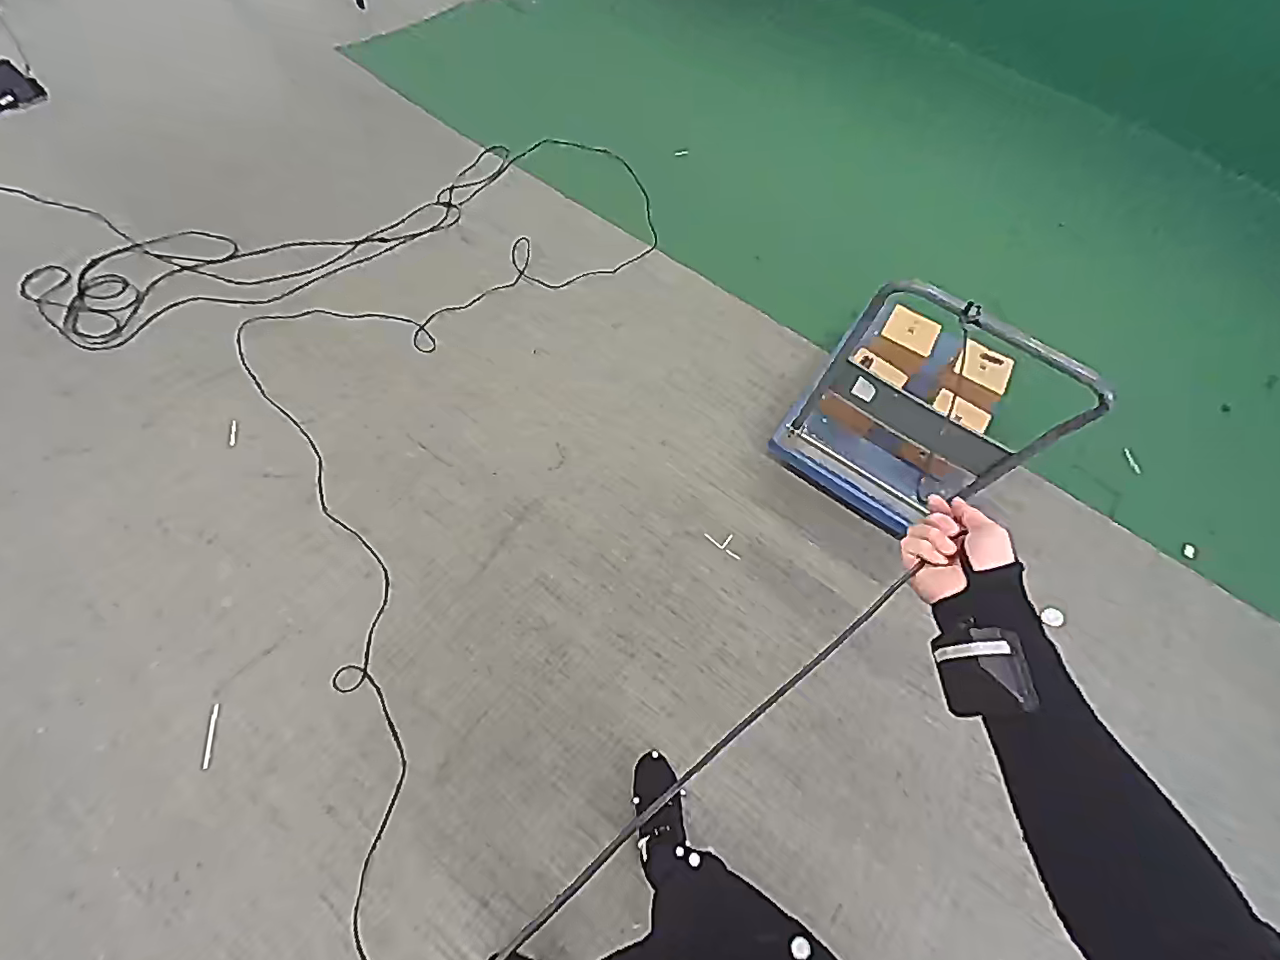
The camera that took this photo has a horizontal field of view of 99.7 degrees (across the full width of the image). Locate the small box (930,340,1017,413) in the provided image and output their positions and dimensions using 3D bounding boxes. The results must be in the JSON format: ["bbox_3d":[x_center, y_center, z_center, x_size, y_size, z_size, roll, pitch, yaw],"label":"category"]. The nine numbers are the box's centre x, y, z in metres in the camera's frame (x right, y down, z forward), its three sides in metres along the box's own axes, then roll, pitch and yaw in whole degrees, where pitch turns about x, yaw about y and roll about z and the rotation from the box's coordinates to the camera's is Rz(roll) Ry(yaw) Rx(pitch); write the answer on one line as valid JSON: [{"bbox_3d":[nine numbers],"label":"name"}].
[{"bbox_3d":[1.106,-0.323,1.802,0.168,0.176,0.179,32,63,11],"label":"small box"}]

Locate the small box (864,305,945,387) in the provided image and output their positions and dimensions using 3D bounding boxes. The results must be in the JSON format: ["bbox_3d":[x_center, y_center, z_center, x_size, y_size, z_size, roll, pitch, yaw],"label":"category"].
[{"bbox_3d":[0.895,-0.453,1.846,0.168,0.176,0.179,32,62,9],"label":"small box"}]

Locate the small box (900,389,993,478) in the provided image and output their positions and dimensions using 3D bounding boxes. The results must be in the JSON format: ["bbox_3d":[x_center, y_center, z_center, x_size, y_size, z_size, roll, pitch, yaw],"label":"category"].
[{"bbox_3d":[0.946,-0.141,1.683,0.168,0.176,0.179,36,64,12],"label":"small box"}]
